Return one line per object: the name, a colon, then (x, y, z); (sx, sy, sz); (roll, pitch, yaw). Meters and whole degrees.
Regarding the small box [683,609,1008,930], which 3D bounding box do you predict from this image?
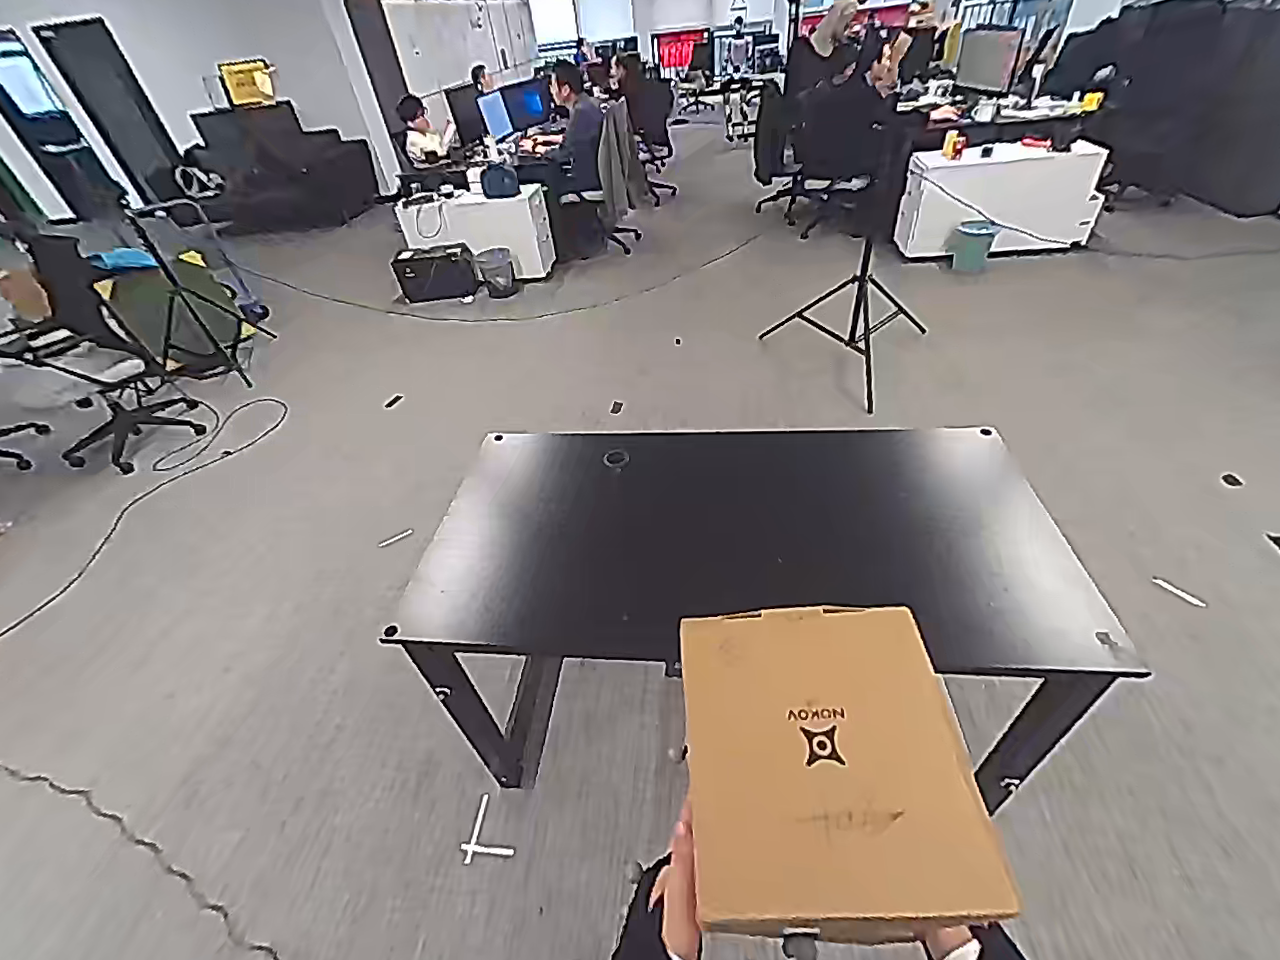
small box: (0.119, 0.217, 0.403); (0.168, 0.176, 0.179); (-5, 49, 4)
